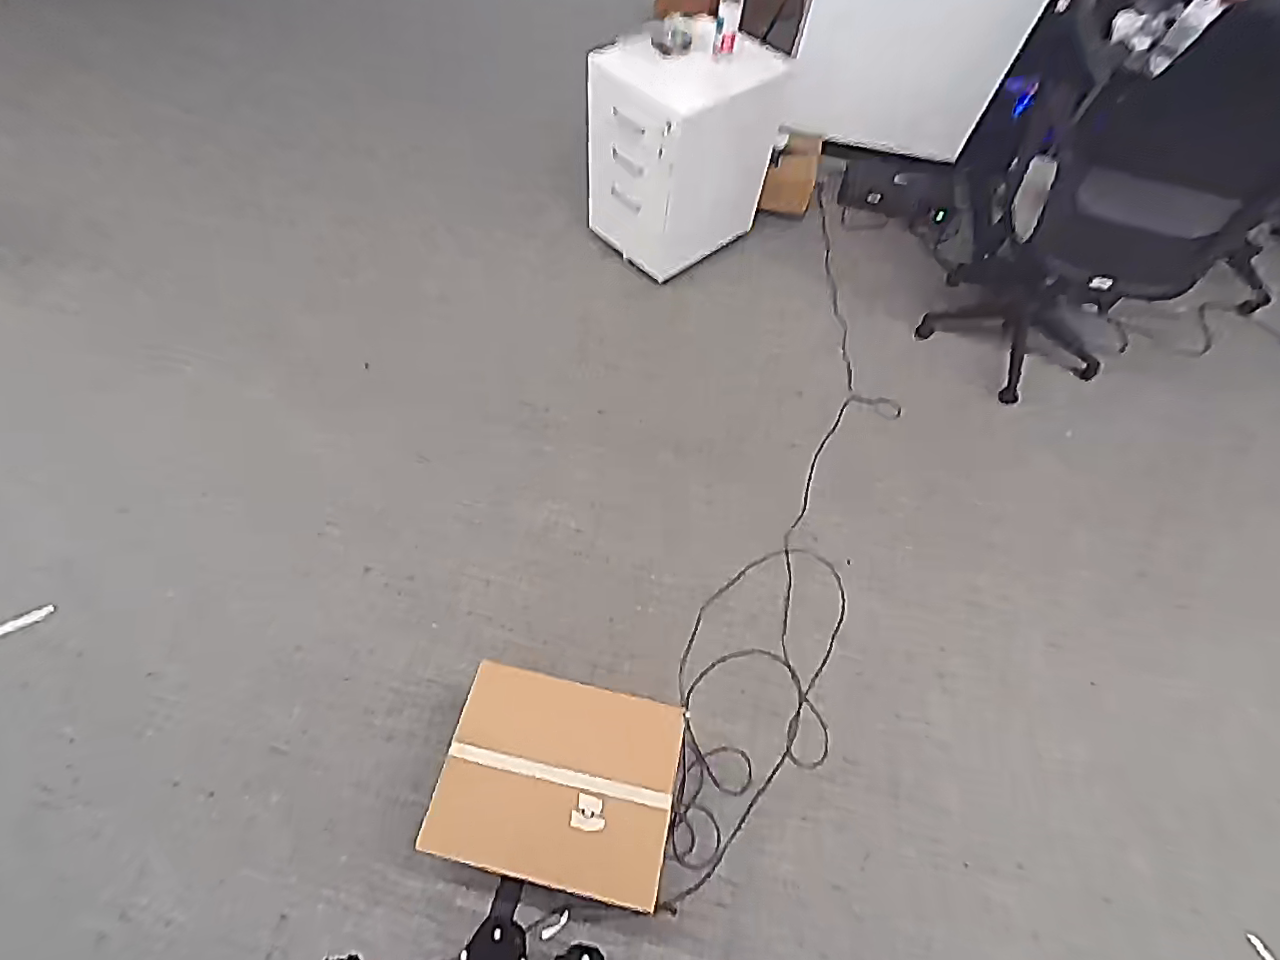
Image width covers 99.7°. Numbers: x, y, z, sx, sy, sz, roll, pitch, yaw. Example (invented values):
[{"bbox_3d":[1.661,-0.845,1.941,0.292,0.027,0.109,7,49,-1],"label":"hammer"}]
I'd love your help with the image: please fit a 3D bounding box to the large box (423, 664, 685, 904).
[{"bbox_3d":[-0.150,0.597,1.088,0.408,0.320,0.320,13,60,3],"label":"large box"}]
